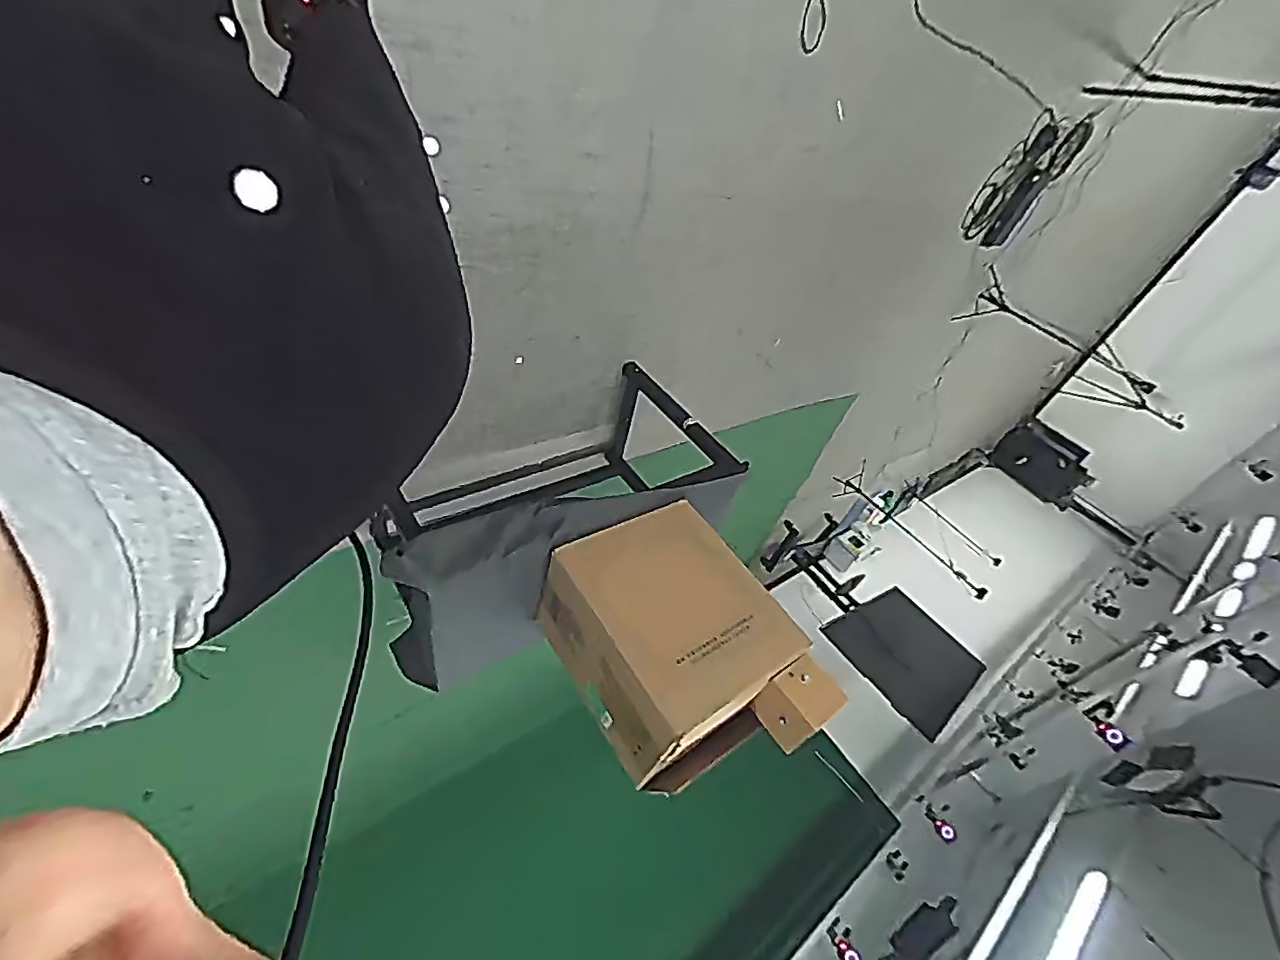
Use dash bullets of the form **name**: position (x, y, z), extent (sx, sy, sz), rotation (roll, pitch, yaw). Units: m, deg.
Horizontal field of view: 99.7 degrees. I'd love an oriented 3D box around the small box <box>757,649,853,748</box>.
- **small box**: position (0.464, 0.620, 1.550), extent (0.168, 0.176, 0.179), rotation (-20, 143, -36)
